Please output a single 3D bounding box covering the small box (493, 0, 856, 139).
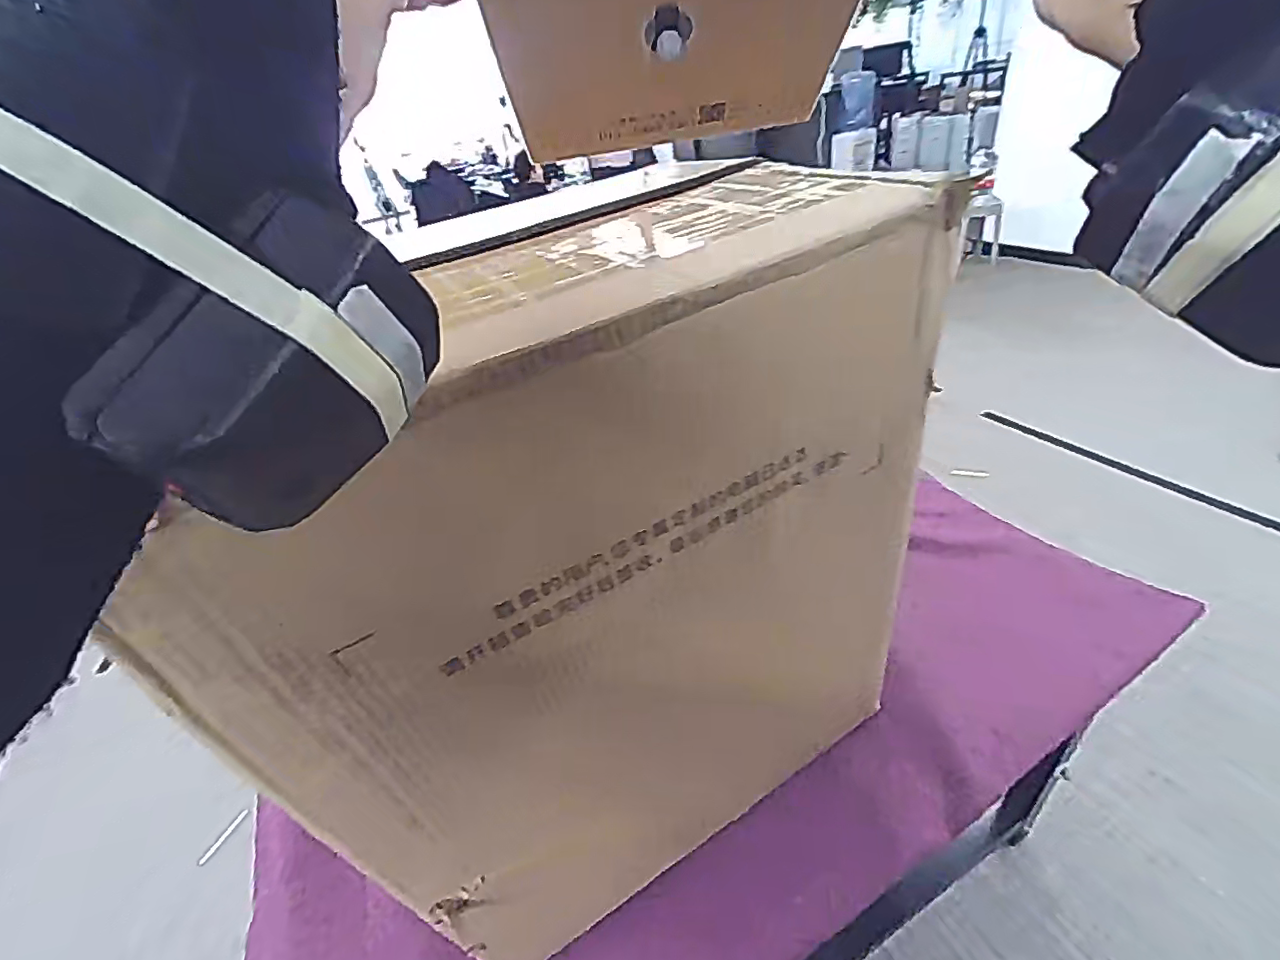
[{"bbox_3d":[0.010,-0.283,0.237,0.168,0.179,0.176,-9,-2,0],"label":"small box"}]
